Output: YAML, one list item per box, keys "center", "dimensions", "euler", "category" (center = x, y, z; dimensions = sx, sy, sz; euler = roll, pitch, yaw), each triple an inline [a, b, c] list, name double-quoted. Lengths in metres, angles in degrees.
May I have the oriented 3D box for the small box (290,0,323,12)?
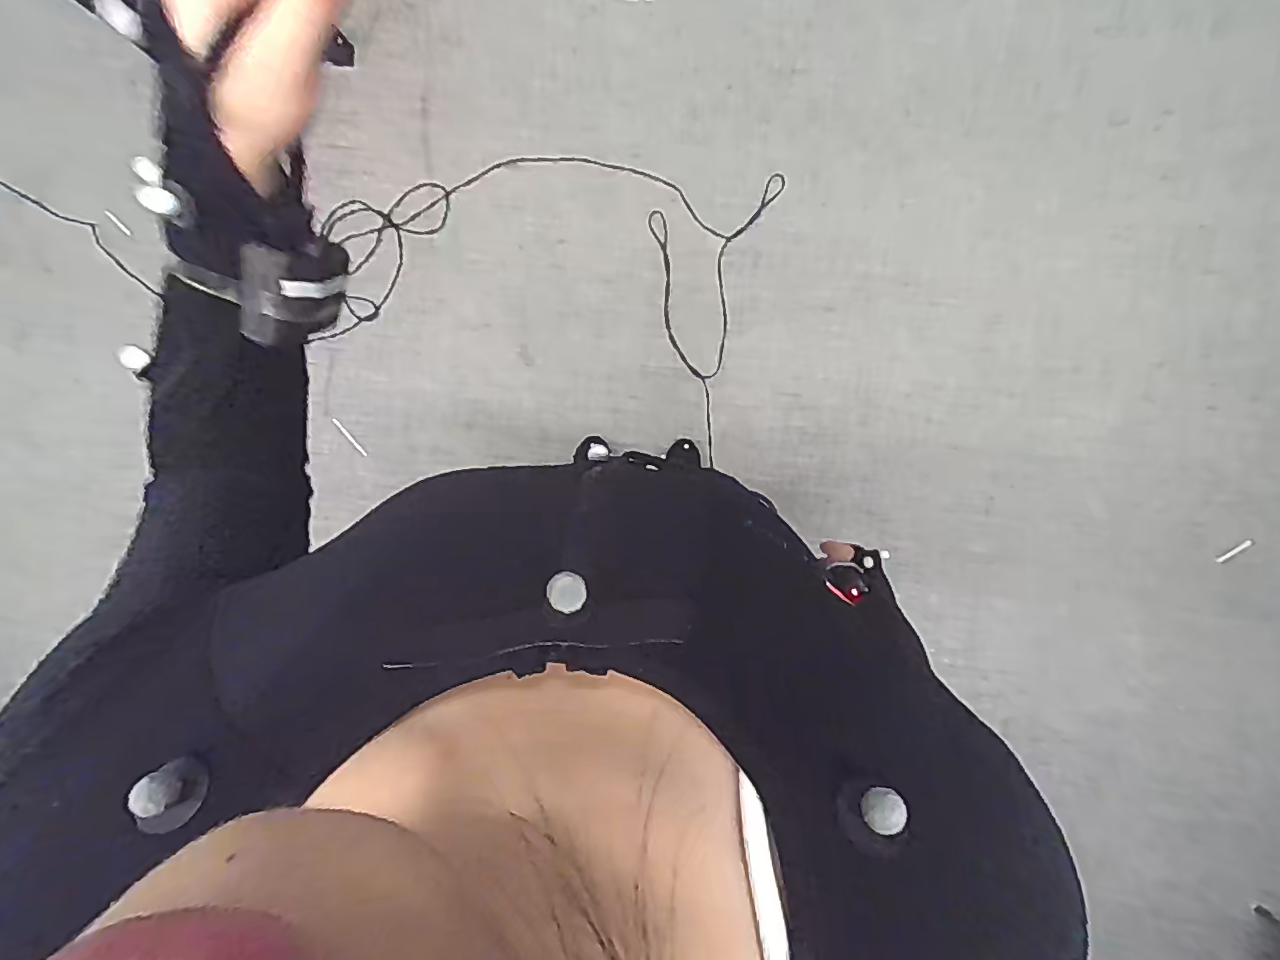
- center: [-0.893, -1.343, 1.358]
  dimensions: [0.179, 0.176, 0.168]
  euler: [38, 95, 0]
  category: "small box"
